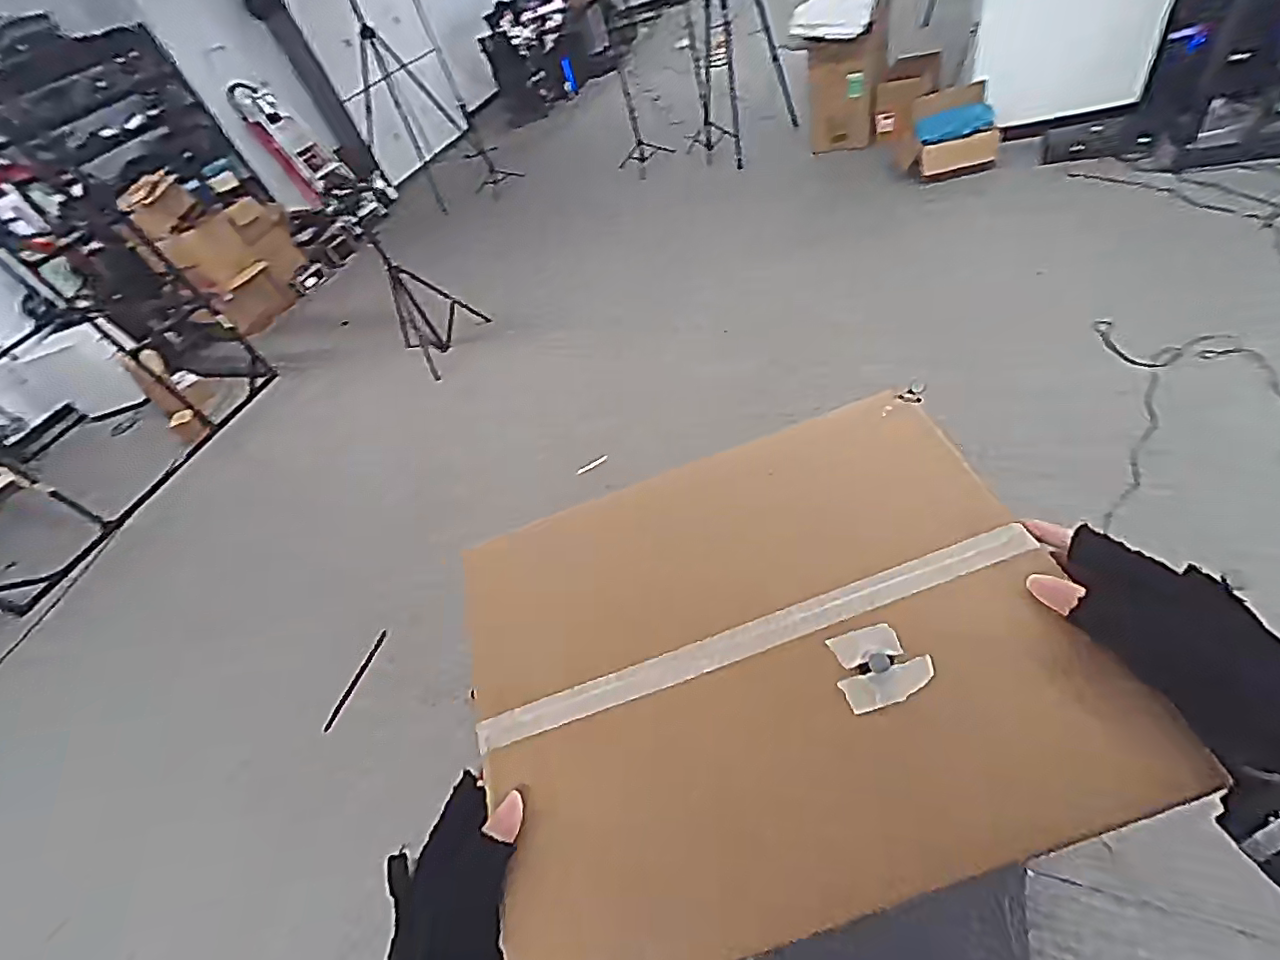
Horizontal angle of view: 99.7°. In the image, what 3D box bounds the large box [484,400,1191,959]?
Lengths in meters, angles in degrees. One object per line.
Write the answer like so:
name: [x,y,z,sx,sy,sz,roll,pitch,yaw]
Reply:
large box: [0.117,0.195,0.512,0.408,0.320,0.320,-20,55,1]
